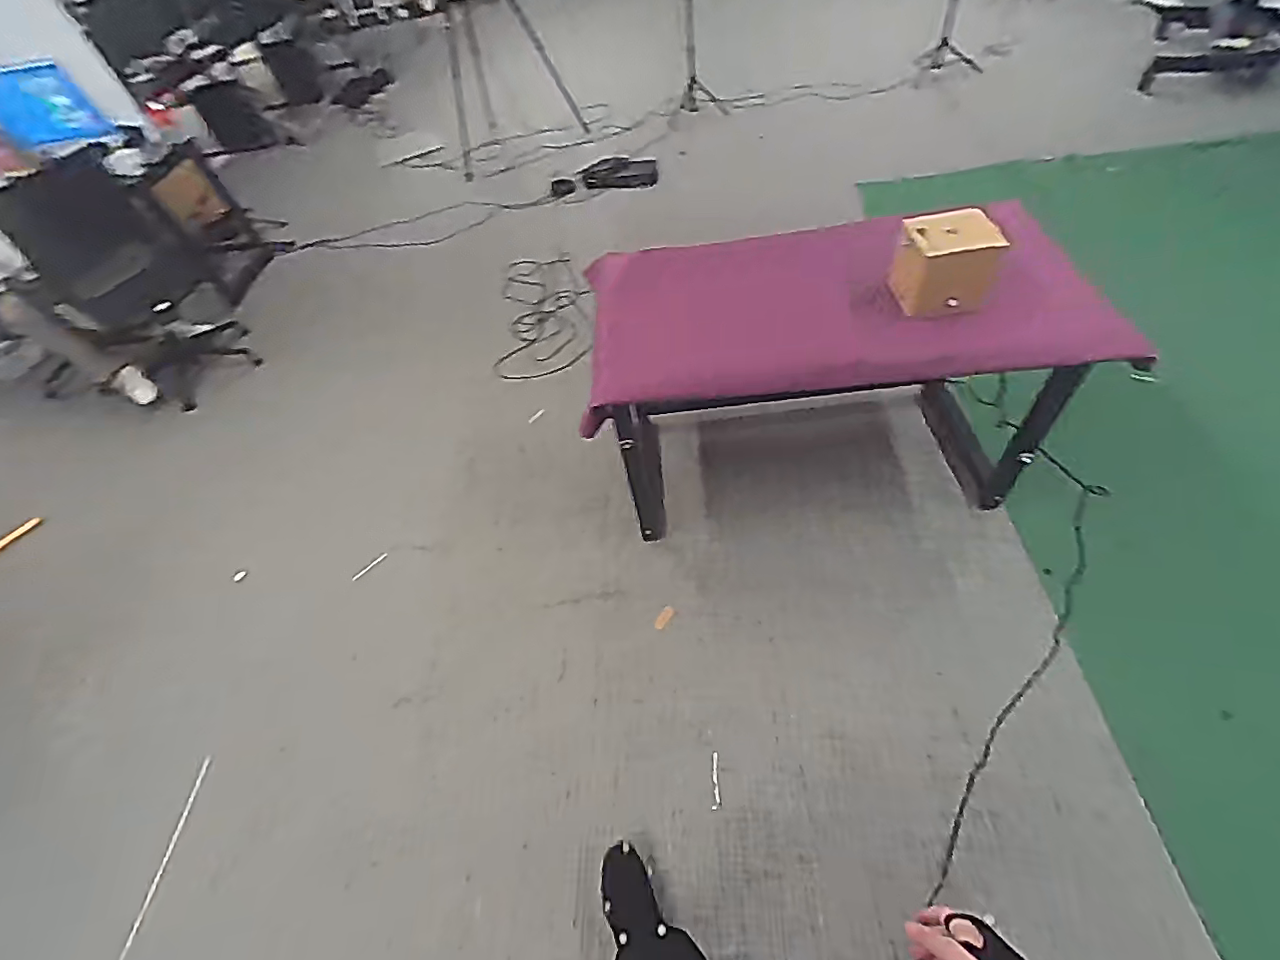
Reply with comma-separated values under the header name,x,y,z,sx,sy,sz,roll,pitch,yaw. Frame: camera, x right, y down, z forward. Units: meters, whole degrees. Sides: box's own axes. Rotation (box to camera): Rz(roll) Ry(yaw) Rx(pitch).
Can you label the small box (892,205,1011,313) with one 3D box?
name,x,y,z,sx,sy,sz,roll,pitch,yaw
small box,0.729,-0.523,1.288,0.179,0.176,0.168,-6,52,6
